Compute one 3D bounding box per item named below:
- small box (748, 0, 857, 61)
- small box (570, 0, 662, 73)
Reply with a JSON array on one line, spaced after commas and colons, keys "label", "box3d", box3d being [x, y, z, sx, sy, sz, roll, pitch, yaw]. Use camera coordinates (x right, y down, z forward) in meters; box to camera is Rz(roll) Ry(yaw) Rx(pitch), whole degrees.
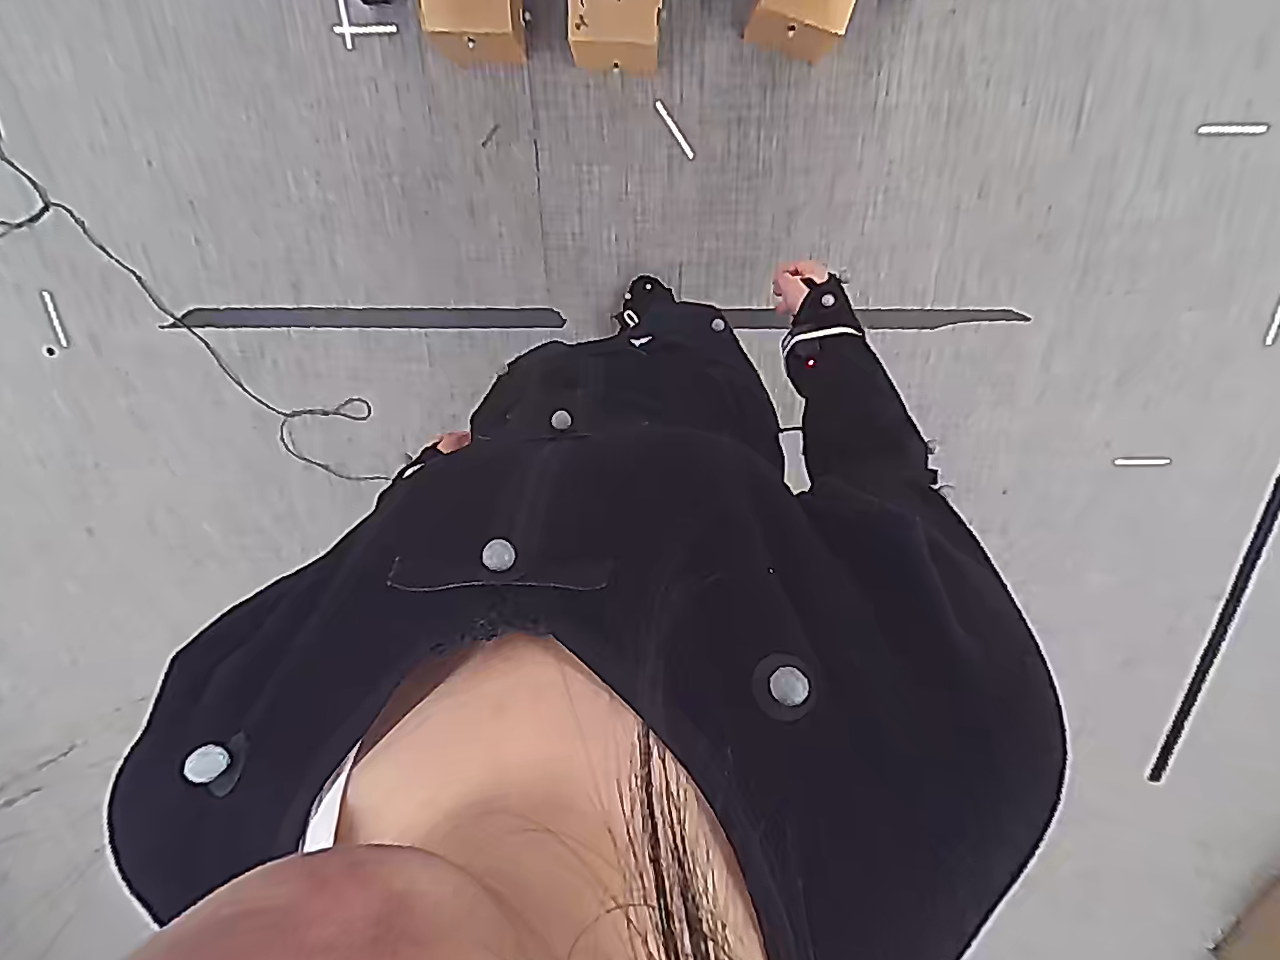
[{"label": "small box", "box3d": [0.334, -0.976, 1.078, 0.179, 0.176, 0.168, 16, 111, -4]}, {"label": "small box", "box3d": [-0.045, -0.948, 1.089, 0.179, 0.176, 0.168, 3, 111, -1]}]
